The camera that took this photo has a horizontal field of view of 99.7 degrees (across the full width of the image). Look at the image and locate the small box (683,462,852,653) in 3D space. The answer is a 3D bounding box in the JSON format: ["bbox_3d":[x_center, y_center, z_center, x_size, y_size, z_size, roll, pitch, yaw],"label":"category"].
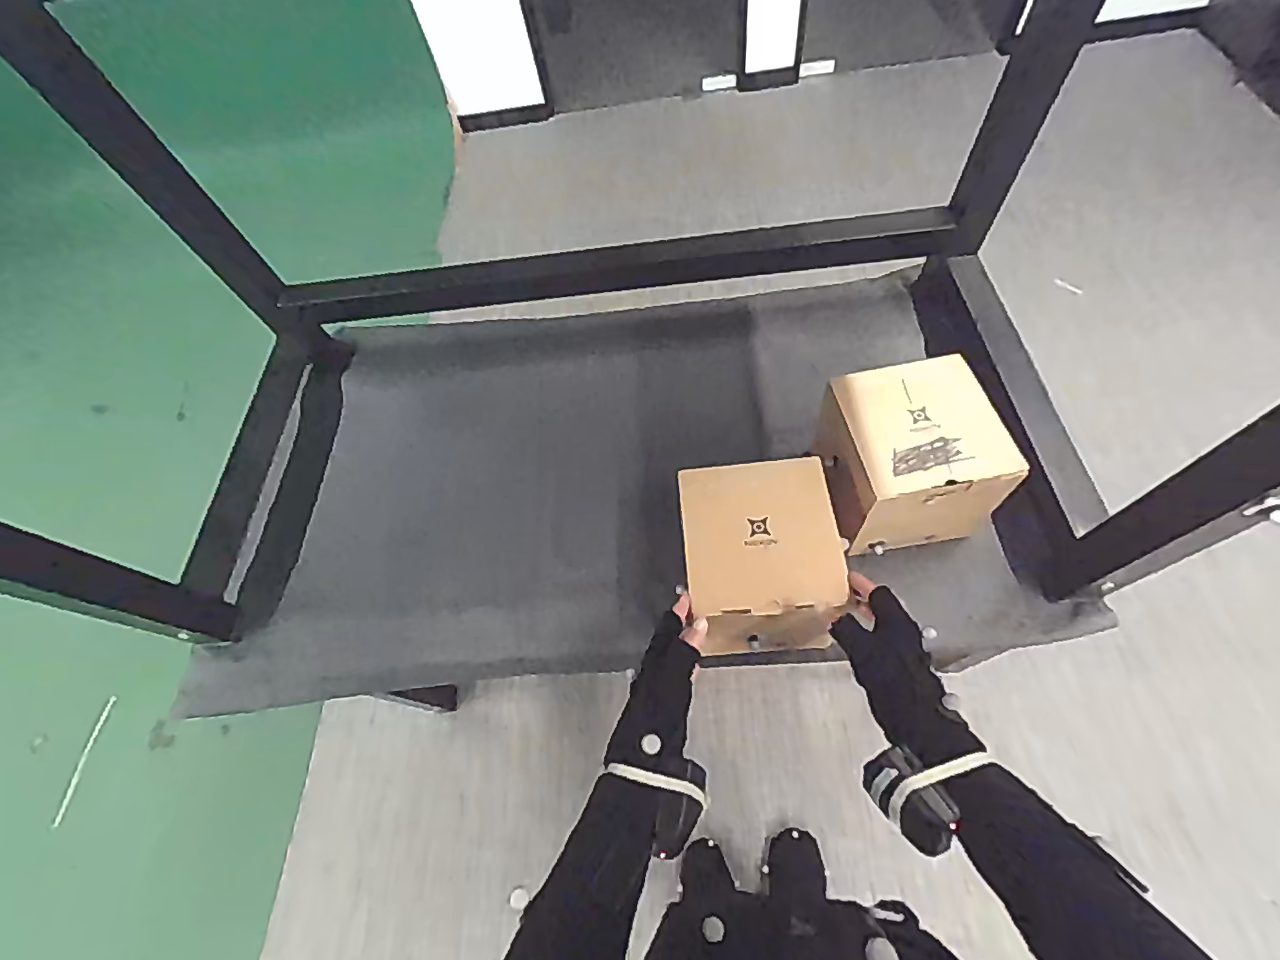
[{"bbox_3d":[0.143,0.100,0.664,0.168,0.176,0.179,-6,58,6],"label":"small box"}]

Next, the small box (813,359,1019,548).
[{"bbox_3d":[0.336,-0.024,0.702,0.168,0.176,0.179,-10,58,3],"label":"small box"}]
